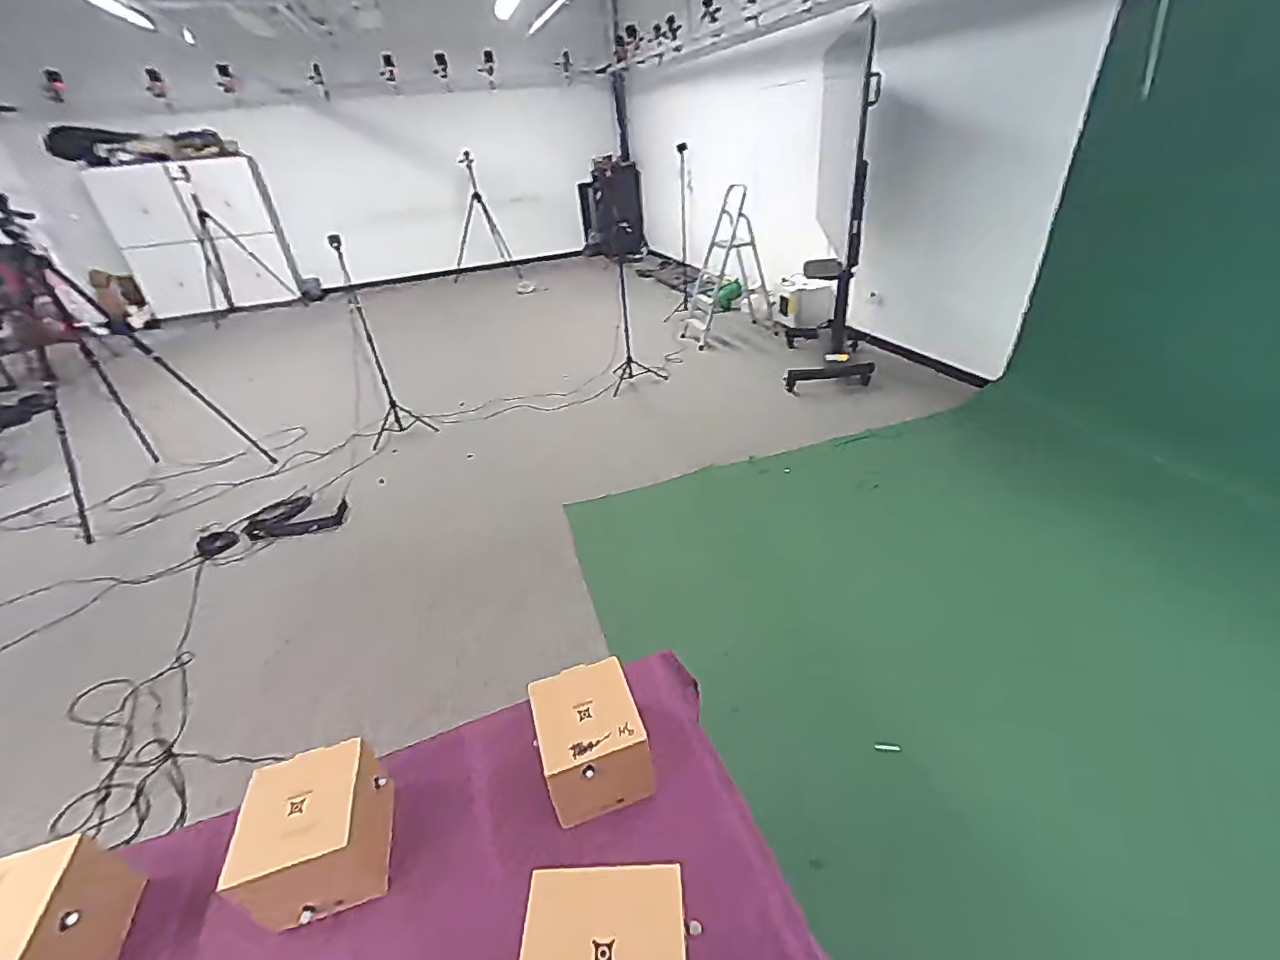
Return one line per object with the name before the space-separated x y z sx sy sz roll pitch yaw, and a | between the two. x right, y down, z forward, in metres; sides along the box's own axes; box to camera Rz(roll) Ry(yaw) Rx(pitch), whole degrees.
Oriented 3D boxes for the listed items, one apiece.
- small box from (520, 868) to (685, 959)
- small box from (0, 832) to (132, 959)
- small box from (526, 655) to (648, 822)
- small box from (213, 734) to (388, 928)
small box | -0.034 0.545 0.564 0.168 0.176 0.179 -3 30 2
small box | -0.857 0.632 0.736 0.168 0.176 0.179 -13 36 -14
small box | -0.091 0.444 0.937 0.168 0.176 0.179 -14 35 -13
small box | -0.506 0.541 0.840 0.168 0.176 0.179 -13 36 -12
